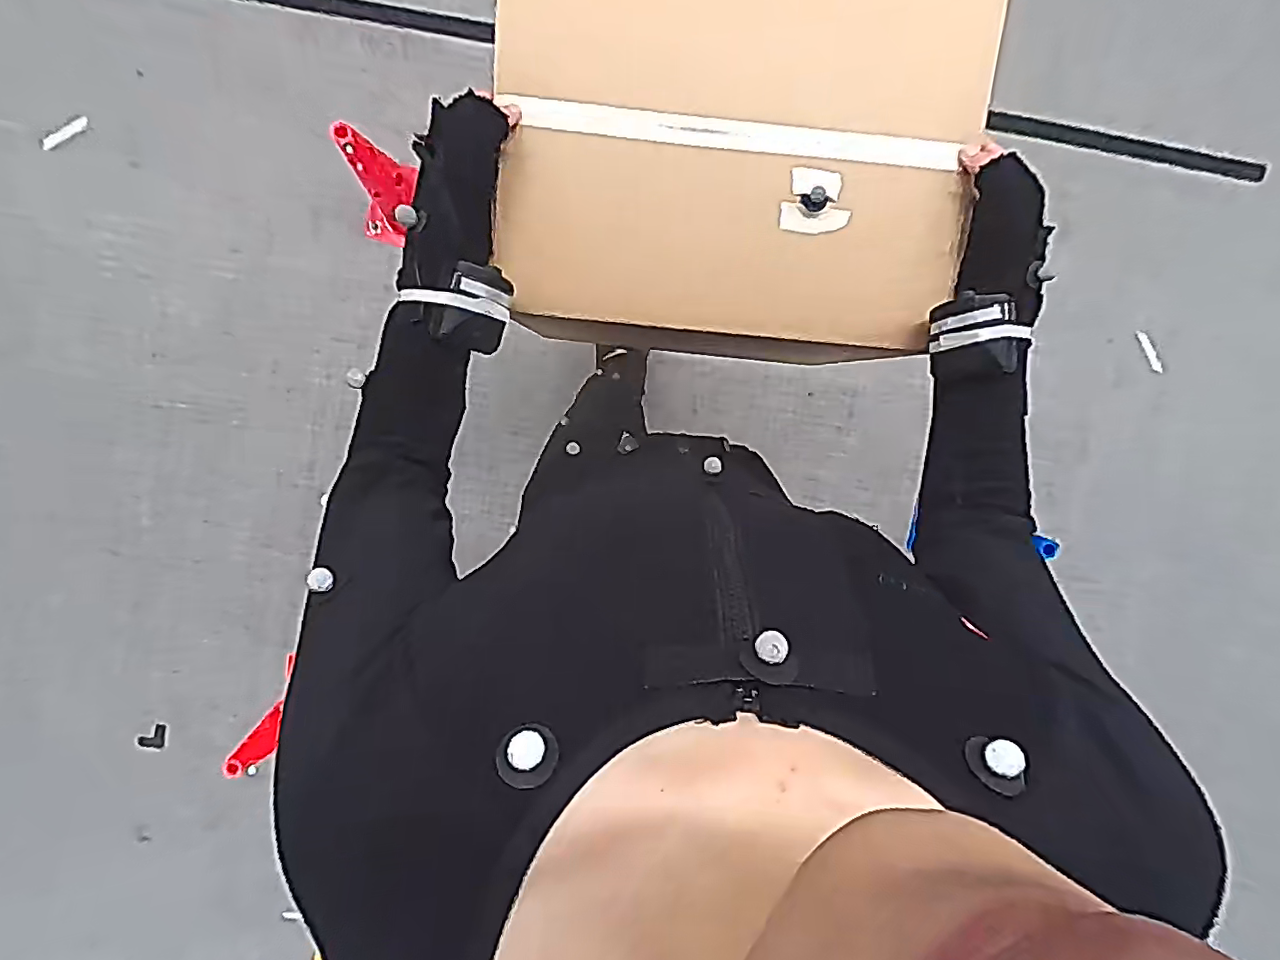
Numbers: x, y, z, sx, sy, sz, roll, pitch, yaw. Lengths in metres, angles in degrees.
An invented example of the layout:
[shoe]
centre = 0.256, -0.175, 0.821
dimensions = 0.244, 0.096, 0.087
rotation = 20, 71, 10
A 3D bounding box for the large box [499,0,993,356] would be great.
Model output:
[large box]
centre = 0.077, -0.317, 0.600
dimensions = 0.408, 0.320, 0.320
rotation = 4, 100, -3

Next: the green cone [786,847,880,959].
[green cone]
centre = 0.559, 1.205, 1.405
dimensions = 0.202, 0.368, 0.200
rotation = -29, 96, -1

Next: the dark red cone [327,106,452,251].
[dark red cone]
centre = -0.573, -0.681, 1.188
dimensions = 0.201, 0.394, 0.202
rotation = 14, 94, -4

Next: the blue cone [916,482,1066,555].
[blue cone]
centre = 0.883, 0.122, 1.350
dimensions = 0.192, 0.380, 0.193
rotation = 12, 94, -4
